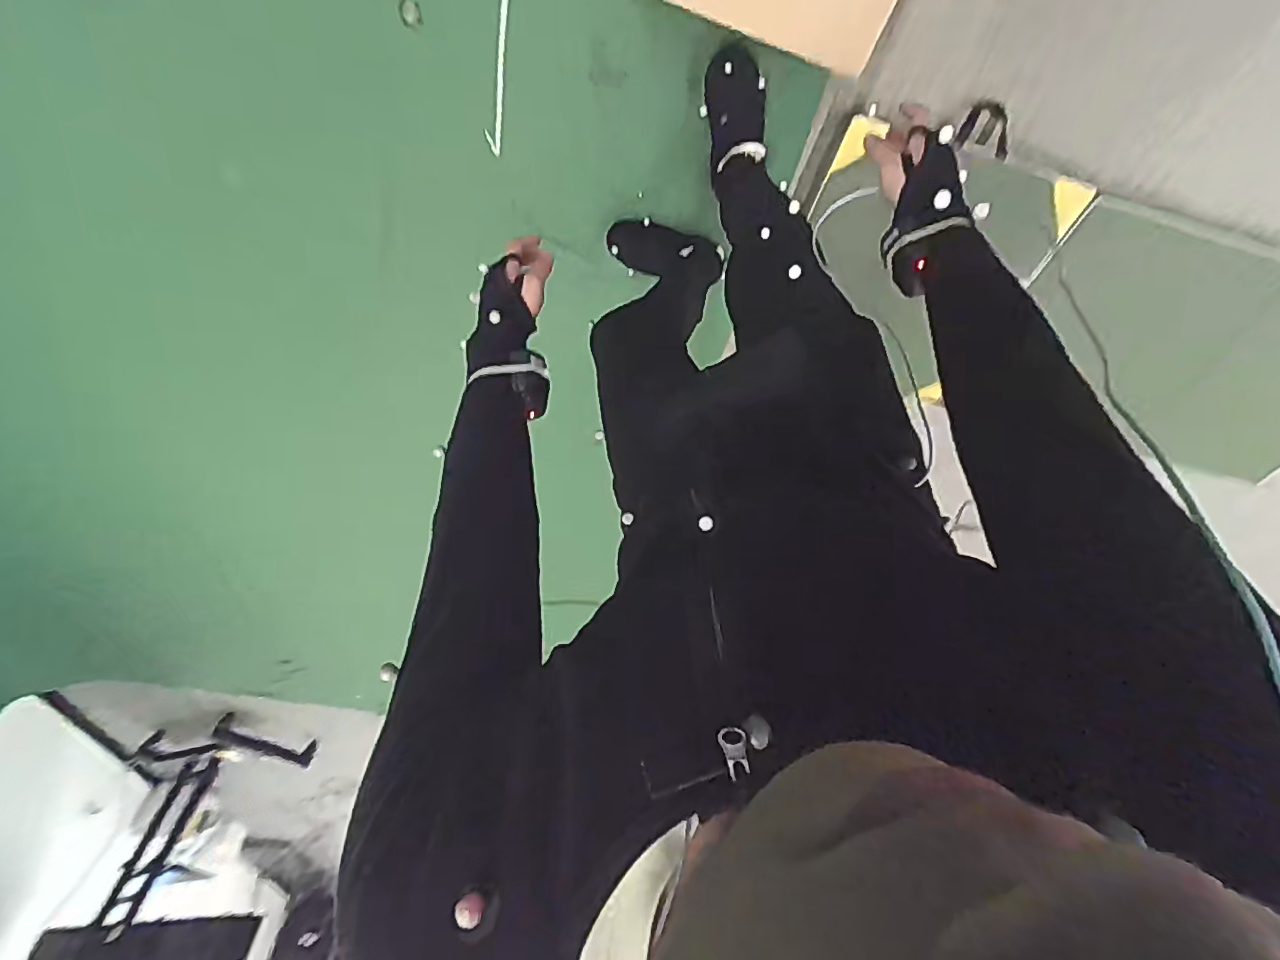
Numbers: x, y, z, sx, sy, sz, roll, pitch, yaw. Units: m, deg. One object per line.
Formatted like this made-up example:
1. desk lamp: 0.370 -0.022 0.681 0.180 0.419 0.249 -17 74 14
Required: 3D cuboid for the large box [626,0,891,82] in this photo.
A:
1. large box: 0.193 -0.882 0.839 0.408 0.320 0.320 13 132 -11
